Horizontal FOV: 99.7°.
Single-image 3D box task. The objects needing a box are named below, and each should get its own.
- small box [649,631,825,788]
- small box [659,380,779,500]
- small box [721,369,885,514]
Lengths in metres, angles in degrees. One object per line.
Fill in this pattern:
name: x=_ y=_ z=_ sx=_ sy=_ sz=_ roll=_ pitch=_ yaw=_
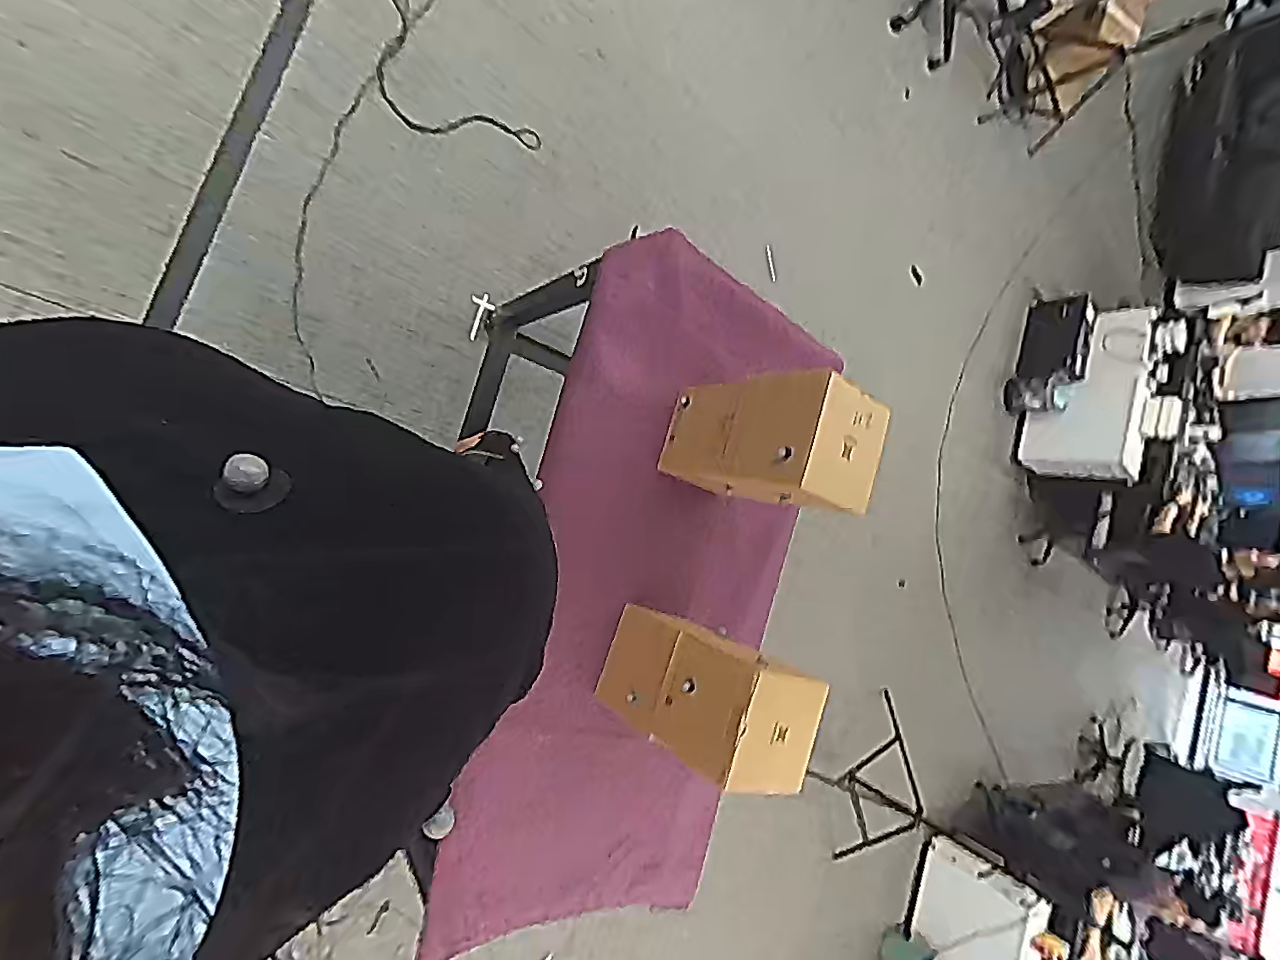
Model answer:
small box: x=0.146 y=0.346 z=0.830 sx=0.179 sy=0.176 sz=0.168 roll=24 pitch=81 yaw=-35
small box: x=0.162 y=-0.070 z=0.998 sx=0.179 sy=0.176 sz=0.168 roll=21 pitch=83 yaw=-36
small box: x=0.253 y=-0.060 z=0.860 sx=0.168 sy=0.176 sz=0.179 roll=20 pitch=84 yaw=-36
